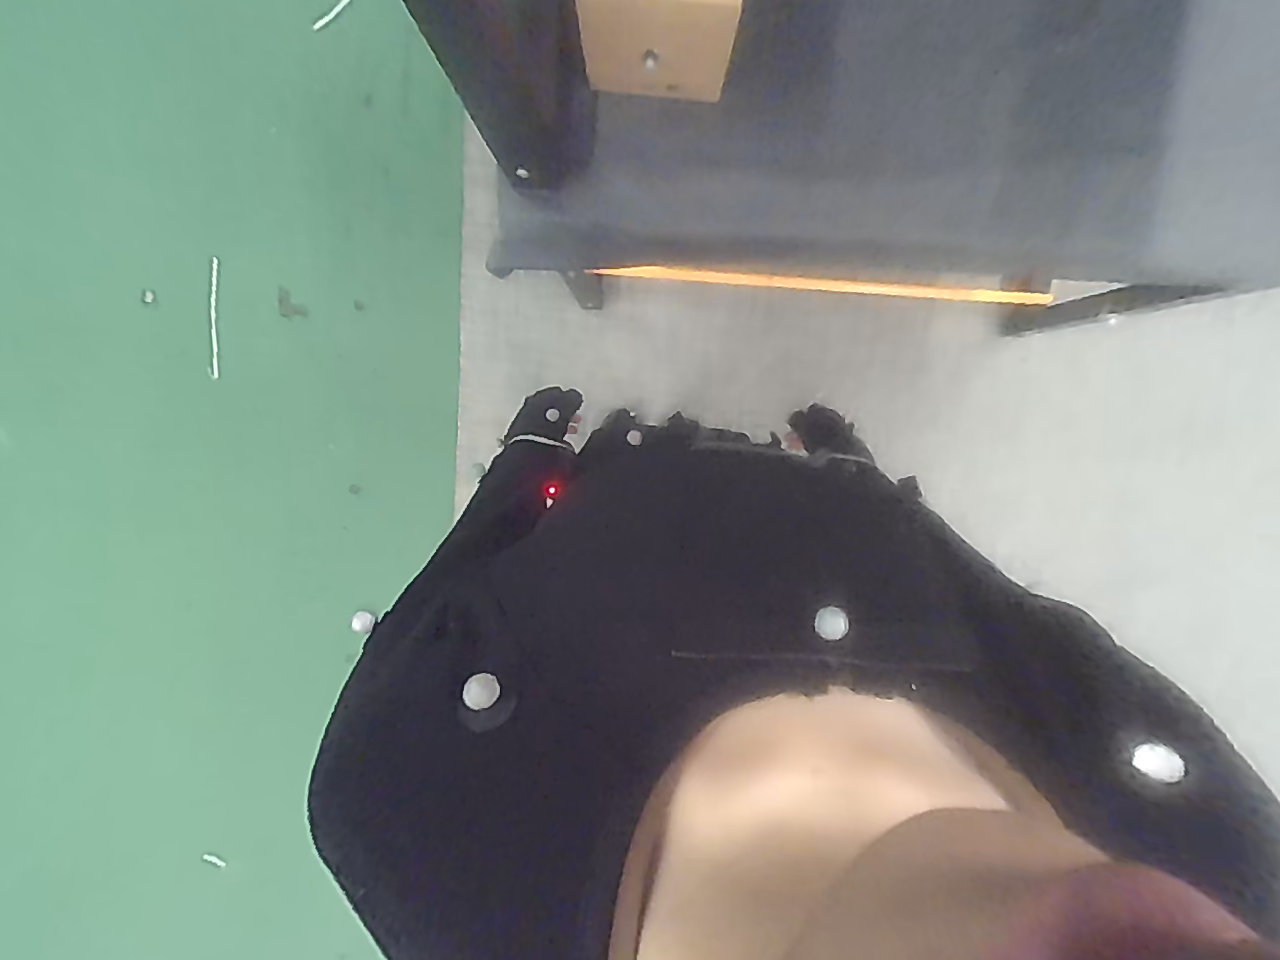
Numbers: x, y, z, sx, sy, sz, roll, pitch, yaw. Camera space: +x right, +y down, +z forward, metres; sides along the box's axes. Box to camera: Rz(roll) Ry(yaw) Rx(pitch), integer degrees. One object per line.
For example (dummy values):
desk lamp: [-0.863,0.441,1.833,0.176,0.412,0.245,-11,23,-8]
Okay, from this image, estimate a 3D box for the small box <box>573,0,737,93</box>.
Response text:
small box: [0.025,-0.559,0.582,0.168,0.176,0.179,6,97,-1]
